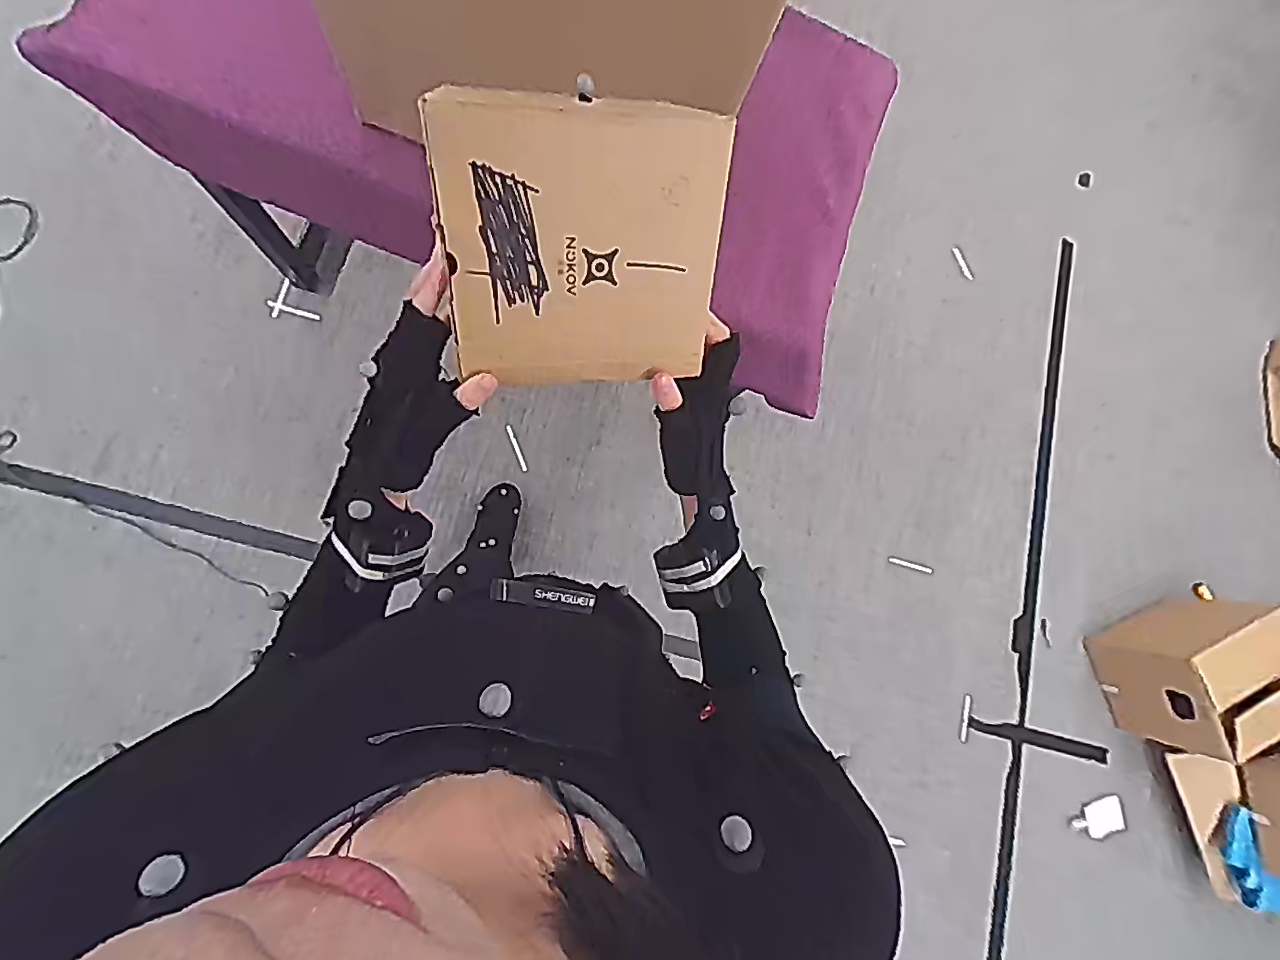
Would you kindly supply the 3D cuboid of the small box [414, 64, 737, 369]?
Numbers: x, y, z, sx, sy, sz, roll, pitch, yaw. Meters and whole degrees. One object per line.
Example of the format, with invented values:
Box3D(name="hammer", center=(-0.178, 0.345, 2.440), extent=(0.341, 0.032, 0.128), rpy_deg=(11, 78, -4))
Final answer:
Box3D(name="small box", center=(-0.052, -0.192, 0.396), extent=(0.179, 0.176, 0.168), rpy_deg=(-5, 128, -13))
